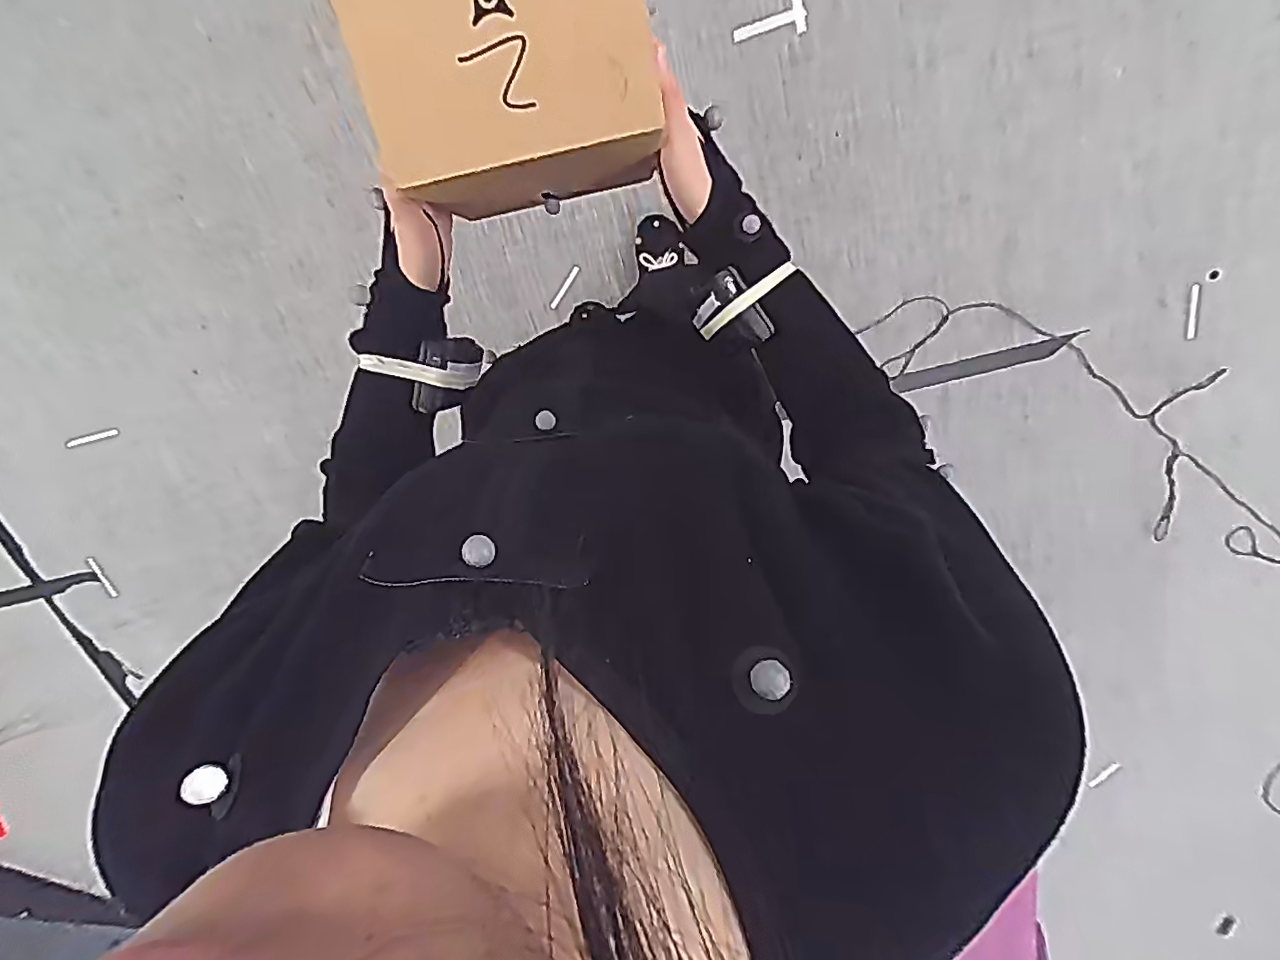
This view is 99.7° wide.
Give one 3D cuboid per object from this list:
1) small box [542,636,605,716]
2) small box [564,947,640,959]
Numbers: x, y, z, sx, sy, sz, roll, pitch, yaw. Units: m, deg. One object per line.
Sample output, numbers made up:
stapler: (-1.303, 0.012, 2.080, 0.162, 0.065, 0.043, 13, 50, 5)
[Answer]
small box: (-0.201, 0.597, 1.662, 0.179, 0.176, 0.168, 1, 109, -3)
small box: (-0.077, 1.067, 1.059, 0.179, 0.176, 0.168, -13, 111, 3)
